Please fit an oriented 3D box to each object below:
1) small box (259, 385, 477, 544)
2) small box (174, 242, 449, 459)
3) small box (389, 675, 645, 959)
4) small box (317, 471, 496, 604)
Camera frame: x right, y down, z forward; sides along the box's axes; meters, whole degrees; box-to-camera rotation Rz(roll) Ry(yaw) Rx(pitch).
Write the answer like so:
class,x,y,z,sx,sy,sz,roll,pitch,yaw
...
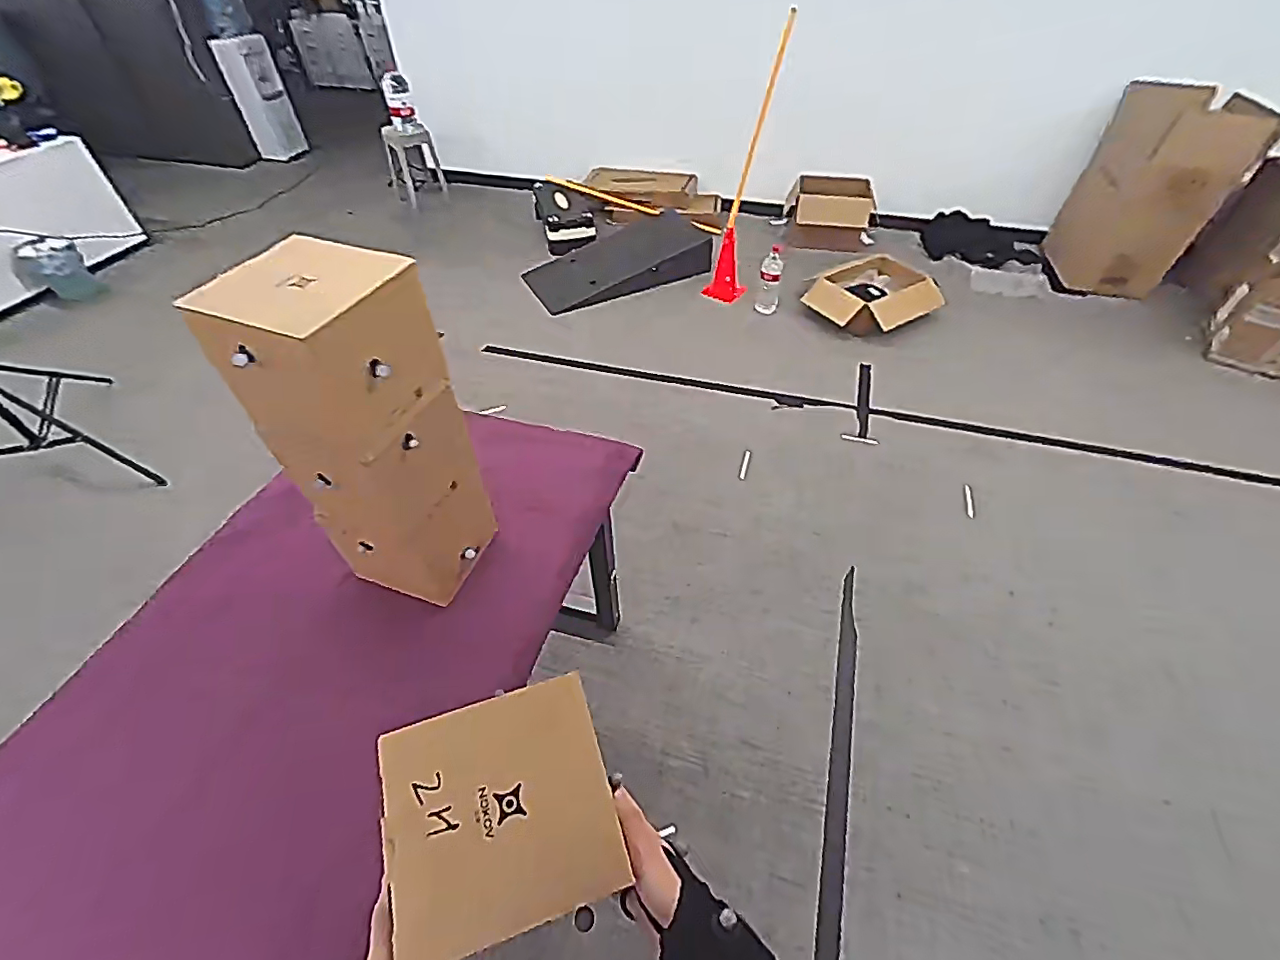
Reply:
class,x,y,z,sx,sy,sz,roll,pitch,yaw
small box,-0.356,-0.035,0.743,0.179,0.176,0.168,15,50,16
small box,-0.352,-0.145,0.622,0.179,0.176,0.168,15,50,15
small box,-0.106,0.301,0.492,0.179,0.176,0.168,-15,58,-11
small box,-0.357,0.075,0.865,0.179,0.176,0.168,14,50,14
